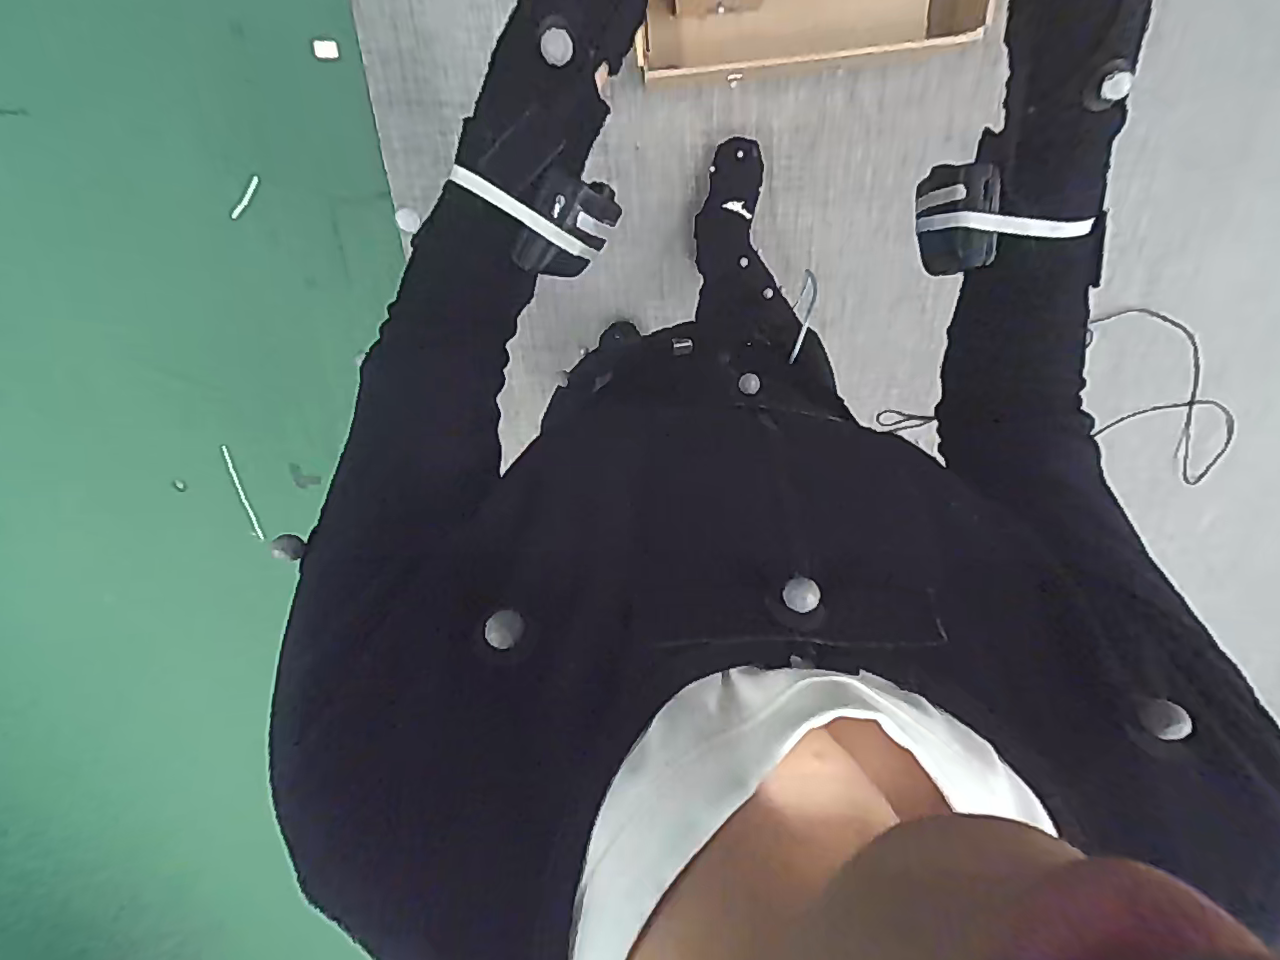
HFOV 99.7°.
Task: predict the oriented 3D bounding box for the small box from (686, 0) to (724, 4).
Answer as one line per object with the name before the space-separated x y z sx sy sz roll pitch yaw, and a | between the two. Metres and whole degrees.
small box | 0.149 -0.962 0.924 0.168 0.176 0.179 -3 115 3
